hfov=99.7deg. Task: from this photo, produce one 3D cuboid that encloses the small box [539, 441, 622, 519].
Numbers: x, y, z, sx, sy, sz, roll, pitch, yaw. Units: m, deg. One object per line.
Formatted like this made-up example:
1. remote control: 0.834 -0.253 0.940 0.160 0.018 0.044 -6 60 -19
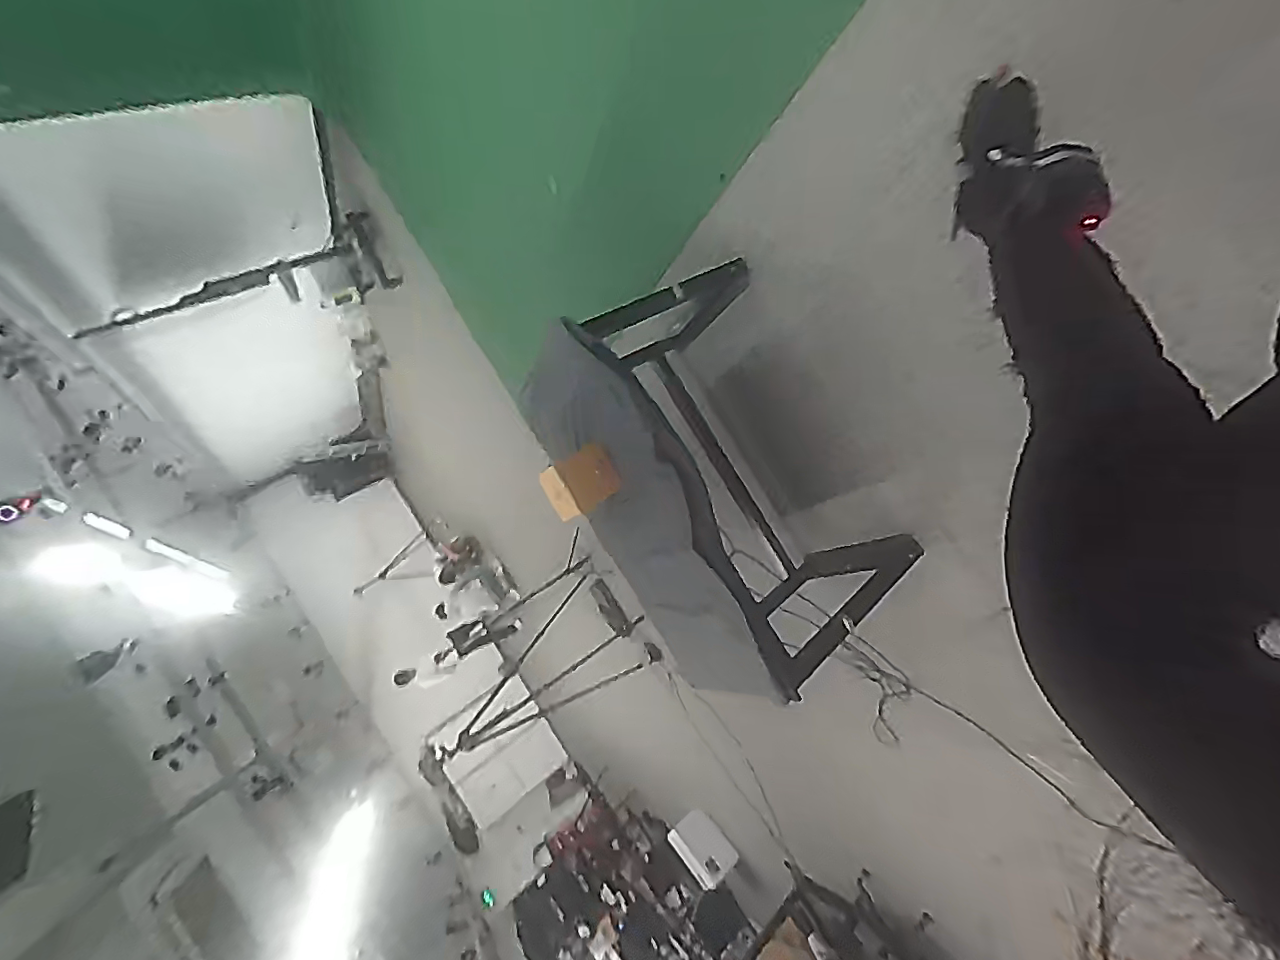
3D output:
1. small box: -0.182 0.002 1.673 0.168 0.176 0.179 59 151 -3
